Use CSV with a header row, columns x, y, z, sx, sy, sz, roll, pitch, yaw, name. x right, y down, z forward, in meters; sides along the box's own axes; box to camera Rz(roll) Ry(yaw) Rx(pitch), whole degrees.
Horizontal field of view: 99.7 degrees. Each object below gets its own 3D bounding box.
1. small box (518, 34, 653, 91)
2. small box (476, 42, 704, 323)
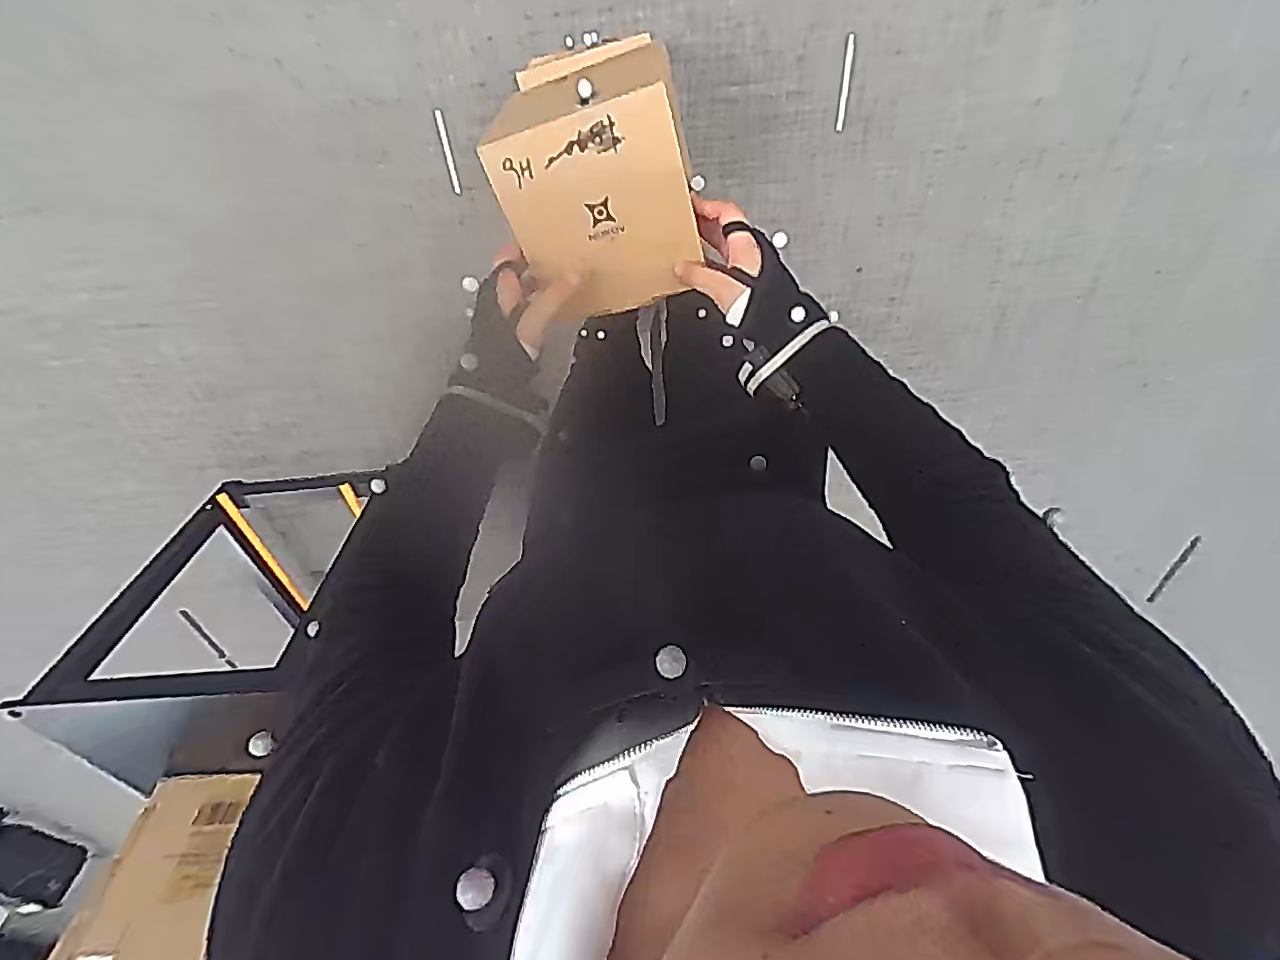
x,y,z,sx,sy,sz,roll,pitch,yaw,name
-0.050,-0.478,0.738,0.168,0.176,0.179,-10,129,8,small box
-0.033,-0.293,0.544,0.168,0.176,0.179,-11,137,14,small box
